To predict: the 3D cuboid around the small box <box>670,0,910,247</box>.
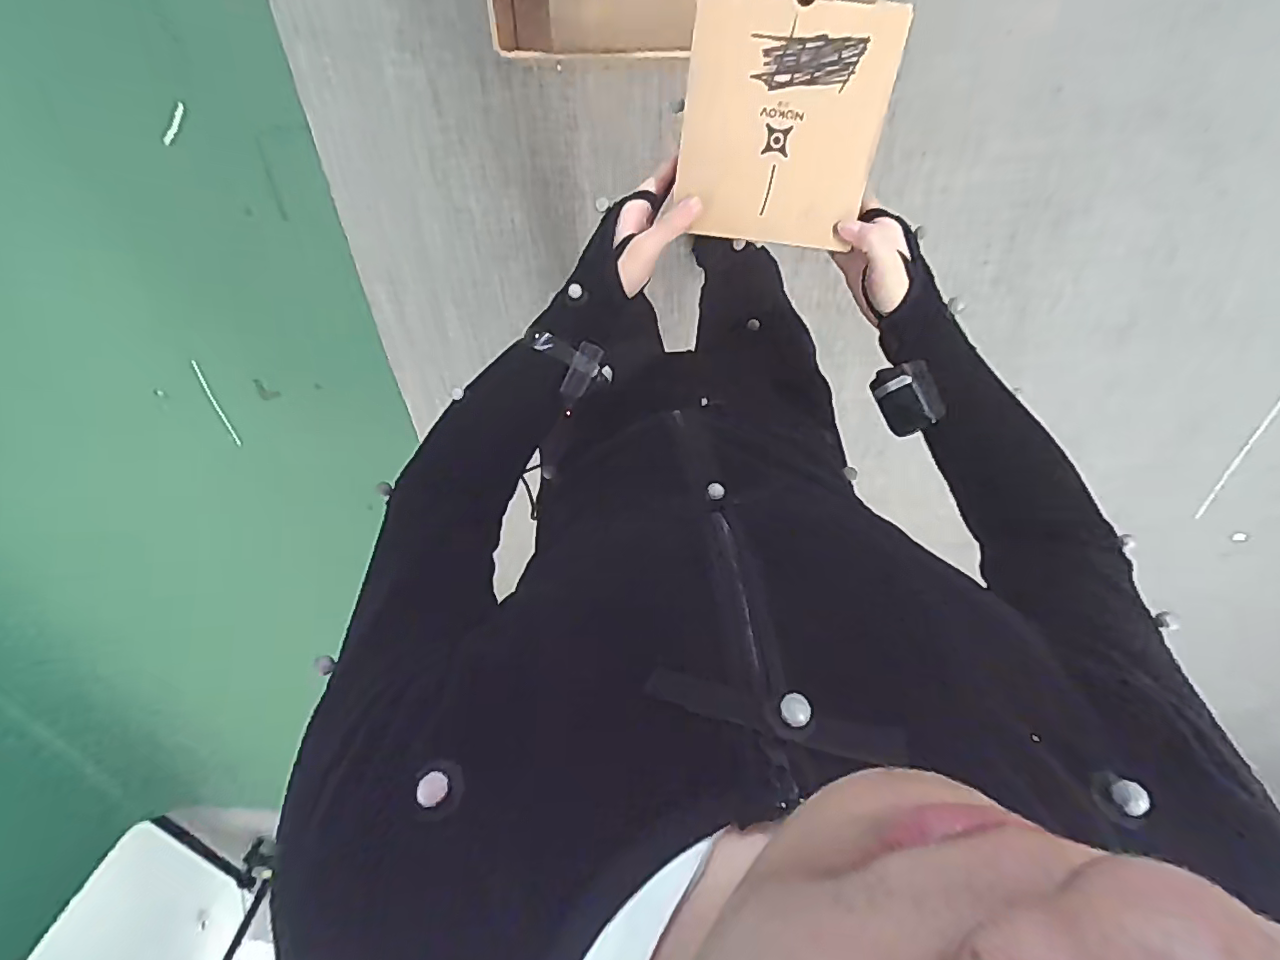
[{"bbox_3d":[0.122,-0.335,0.521,0.168,0.176,0.179,8,119,1],"label":"small box"}]
